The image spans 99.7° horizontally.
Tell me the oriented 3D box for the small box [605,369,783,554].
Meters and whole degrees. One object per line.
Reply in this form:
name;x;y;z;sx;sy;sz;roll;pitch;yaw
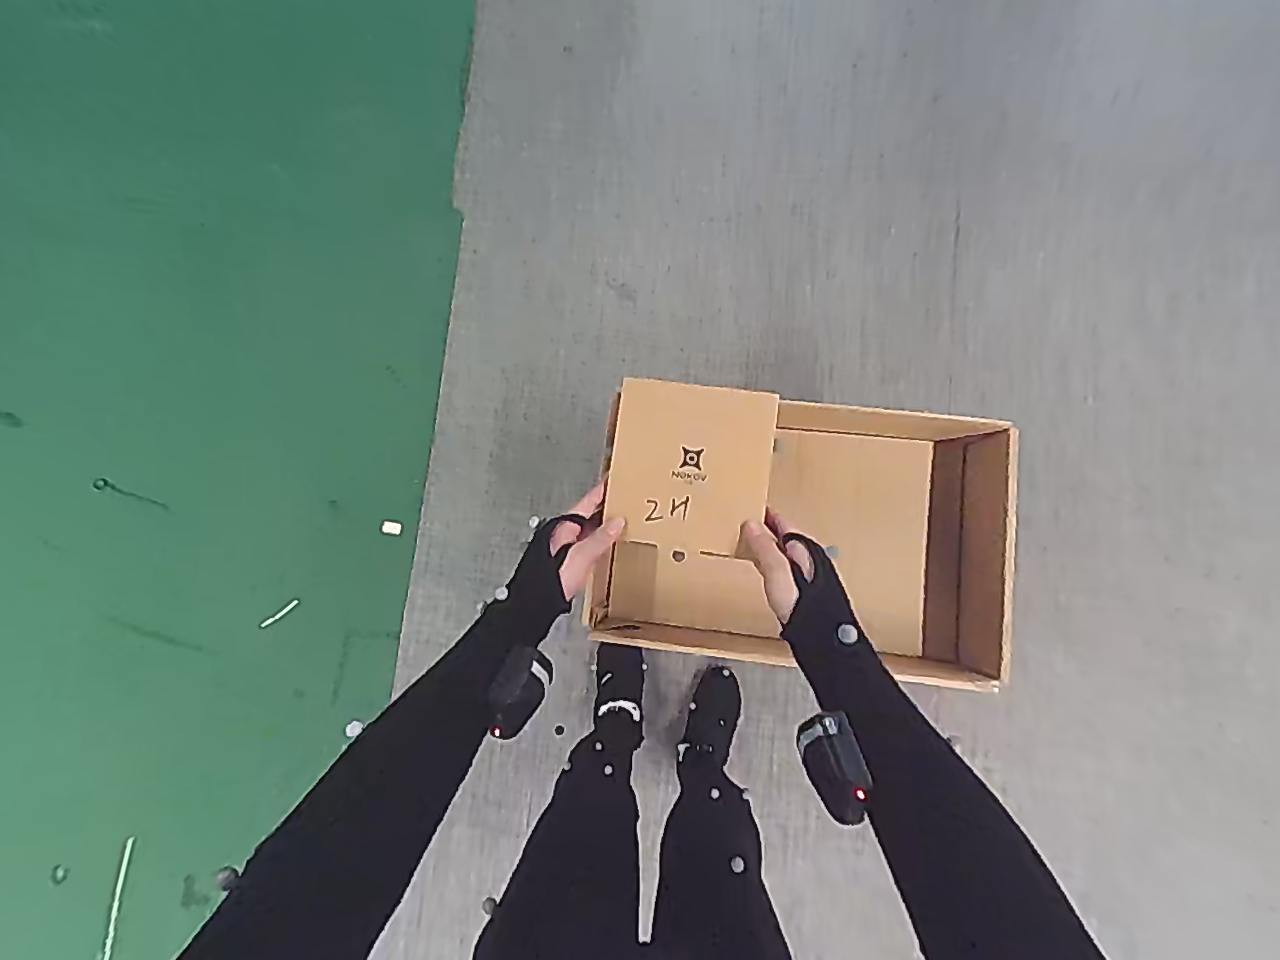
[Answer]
small box;0.063;-0.014;0.641;0.168;0.176;0.179;9;85;6
